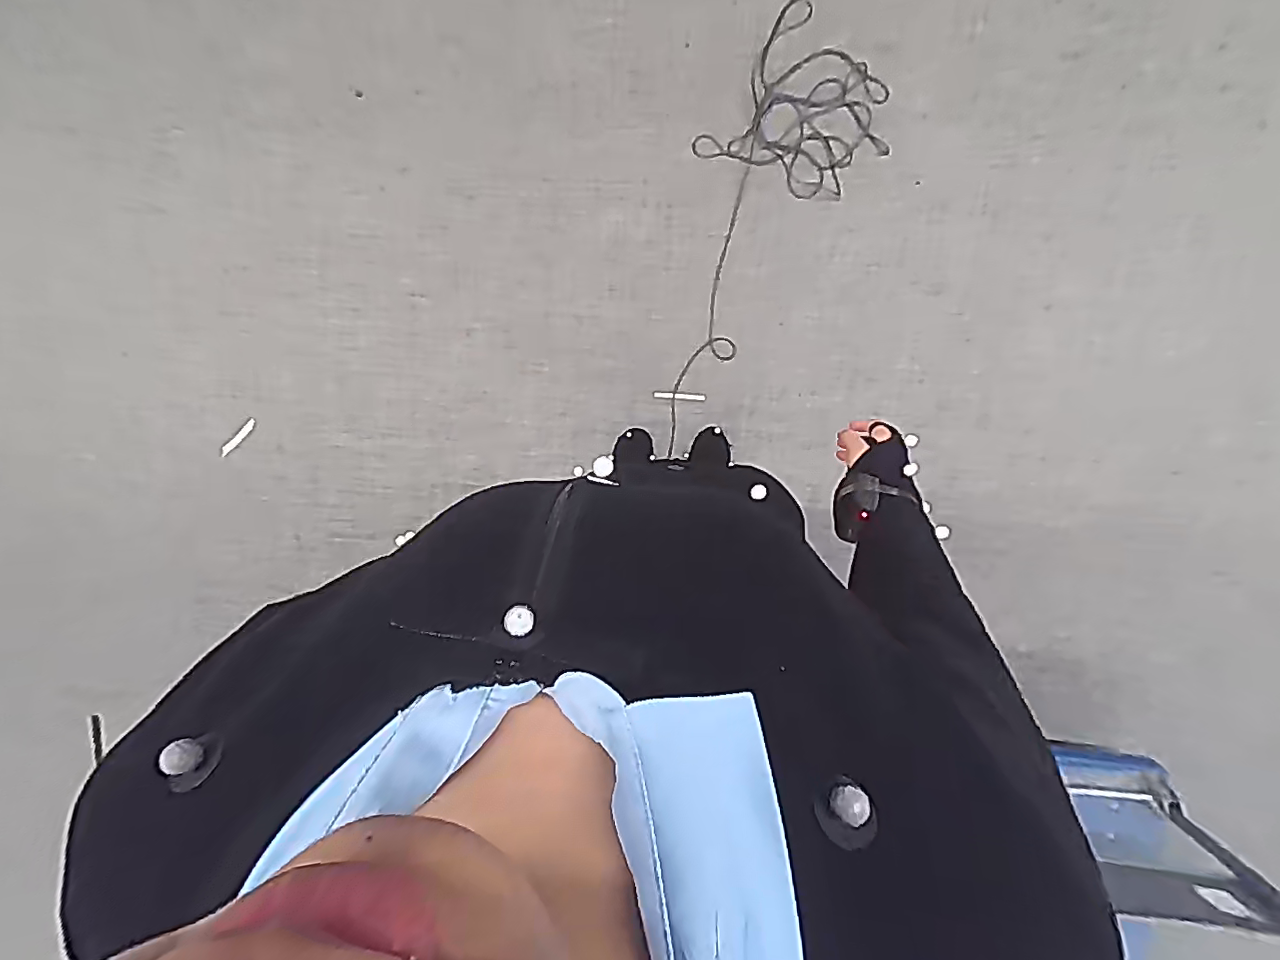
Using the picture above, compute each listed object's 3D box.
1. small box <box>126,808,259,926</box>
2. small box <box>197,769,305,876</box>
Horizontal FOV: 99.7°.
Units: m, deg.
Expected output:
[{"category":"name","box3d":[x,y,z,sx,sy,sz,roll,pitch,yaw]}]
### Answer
[{"category":"small box","box3d":[-1.074,0.927,1.308,0.179,0.176,0.168,-3,96,6]},{"category":"small box","box3d":[-1.057,0.922,1.471,0.179,0.176,0.168,8,98,5]}]
